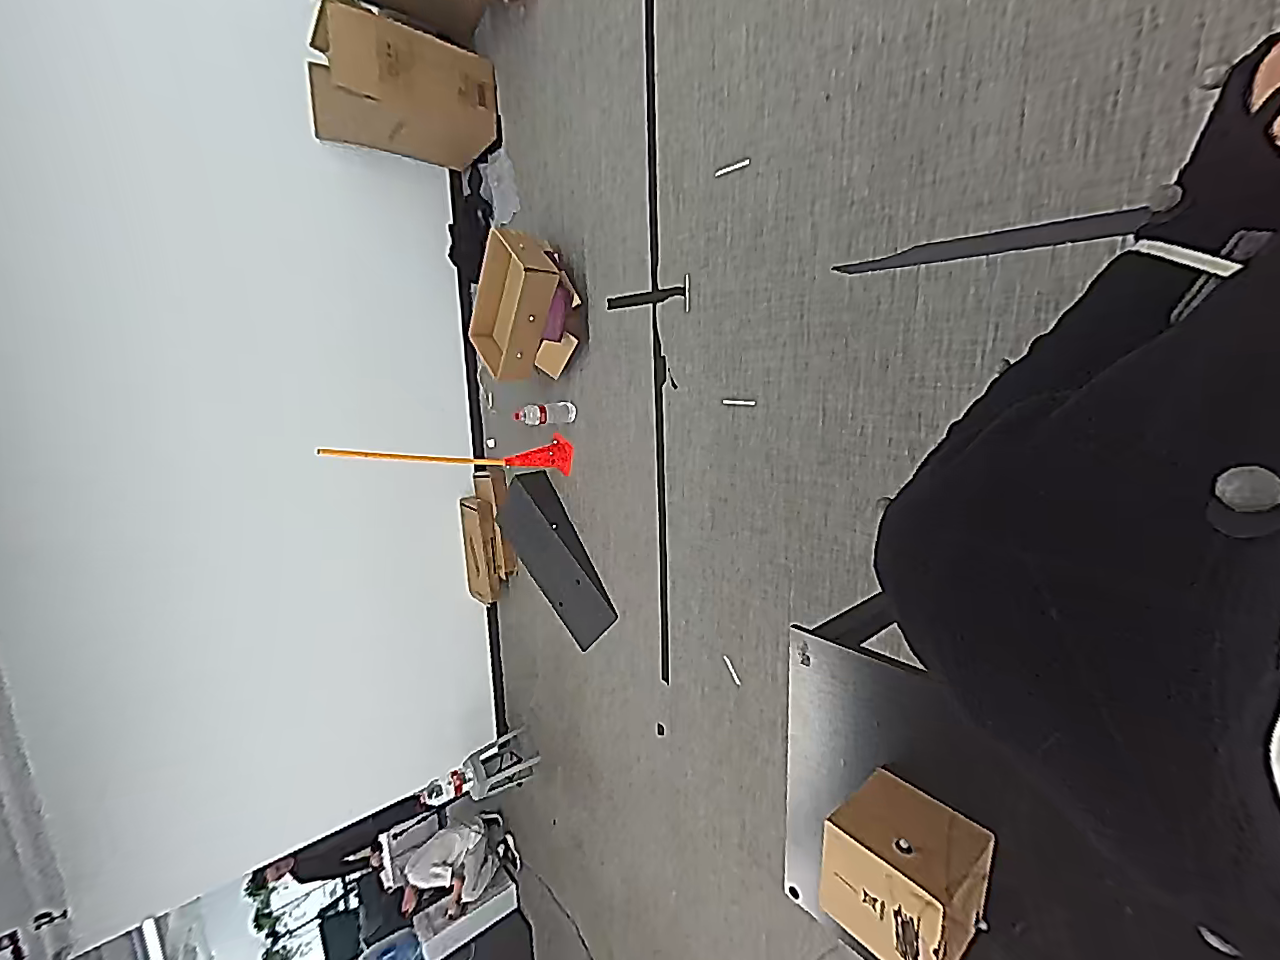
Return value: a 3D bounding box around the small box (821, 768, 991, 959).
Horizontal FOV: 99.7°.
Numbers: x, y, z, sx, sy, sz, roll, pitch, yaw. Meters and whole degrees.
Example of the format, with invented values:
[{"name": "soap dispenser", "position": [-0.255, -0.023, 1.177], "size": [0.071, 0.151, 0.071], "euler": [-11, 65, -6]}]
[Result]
[{"name": "small box", "position": [0.402, 0.581, 0.821], "size": [0.179, 0.176, 0.168], "euler": [15, 110, 50]}]
